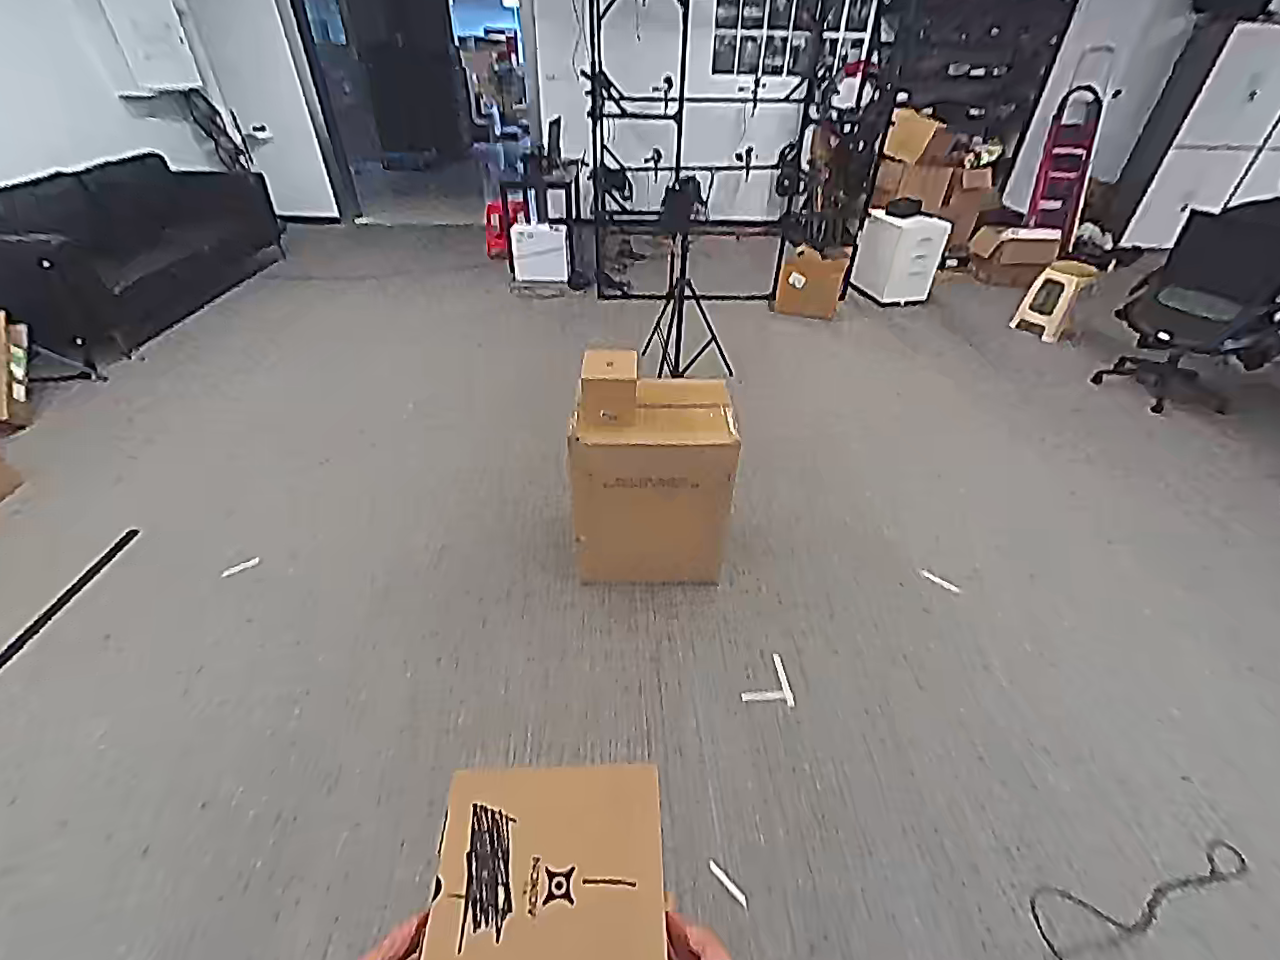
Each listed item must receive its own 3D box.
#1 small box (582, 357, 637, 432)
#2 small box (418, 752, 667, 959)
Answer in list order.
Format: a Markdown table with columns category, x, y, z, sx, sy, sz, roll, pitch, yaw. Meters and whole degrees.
| category | x | y | z | sx | sy | sz | roll | pitch | yaw |
| --- | --- | --- | --- | --- | --- | --- | --- | --- | --- |
| small box | -0.093 | -0.269 | 1.693 | 0.168 | 0.176 | 0.179 | 0 | 41 | -1 |
| small box | -0.070 | 0.355 | 0.470 | 0.179 | 0.176 | 0.168 | -1 | 45 | -2 |
